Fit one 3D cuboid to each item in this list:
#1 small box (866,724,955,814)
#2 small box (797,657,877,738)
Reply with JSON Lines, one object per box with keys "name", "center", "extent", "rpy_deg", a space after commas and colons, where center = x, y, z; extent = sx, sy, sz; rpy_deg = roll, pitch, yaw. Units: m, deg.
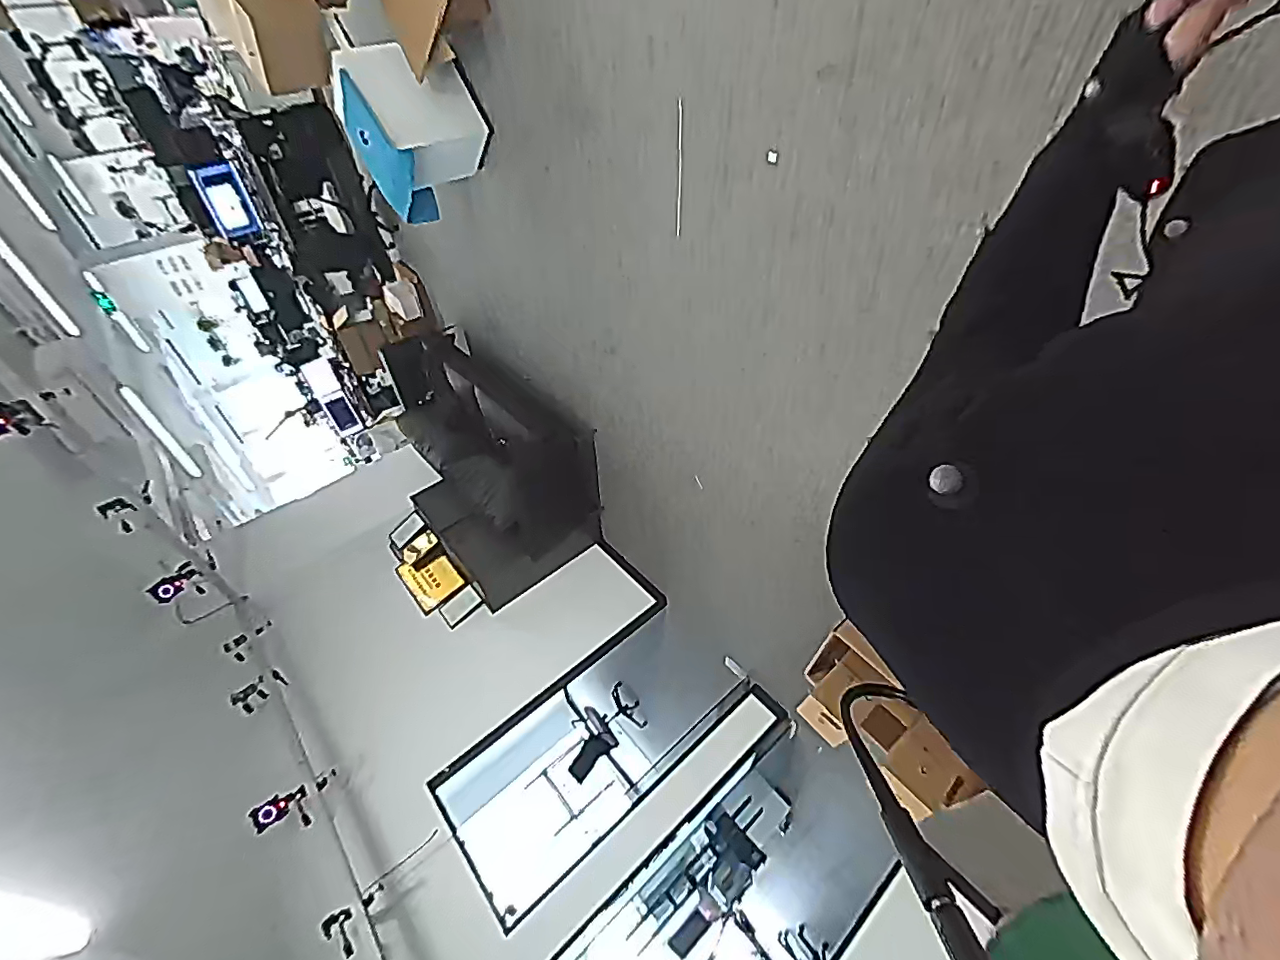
{"name": "small box", "center": [0.854, 0.906, 1.704], "extent": [0.168, 0.176, 0.179], "rpy_deg": [41, 148, 30]}
{"name": "small box", "center": [0.670, 0.732, 1.832], "extent": [0.168, 0.176, 0.179], "rpy_deg": [42, 151, 26]}
